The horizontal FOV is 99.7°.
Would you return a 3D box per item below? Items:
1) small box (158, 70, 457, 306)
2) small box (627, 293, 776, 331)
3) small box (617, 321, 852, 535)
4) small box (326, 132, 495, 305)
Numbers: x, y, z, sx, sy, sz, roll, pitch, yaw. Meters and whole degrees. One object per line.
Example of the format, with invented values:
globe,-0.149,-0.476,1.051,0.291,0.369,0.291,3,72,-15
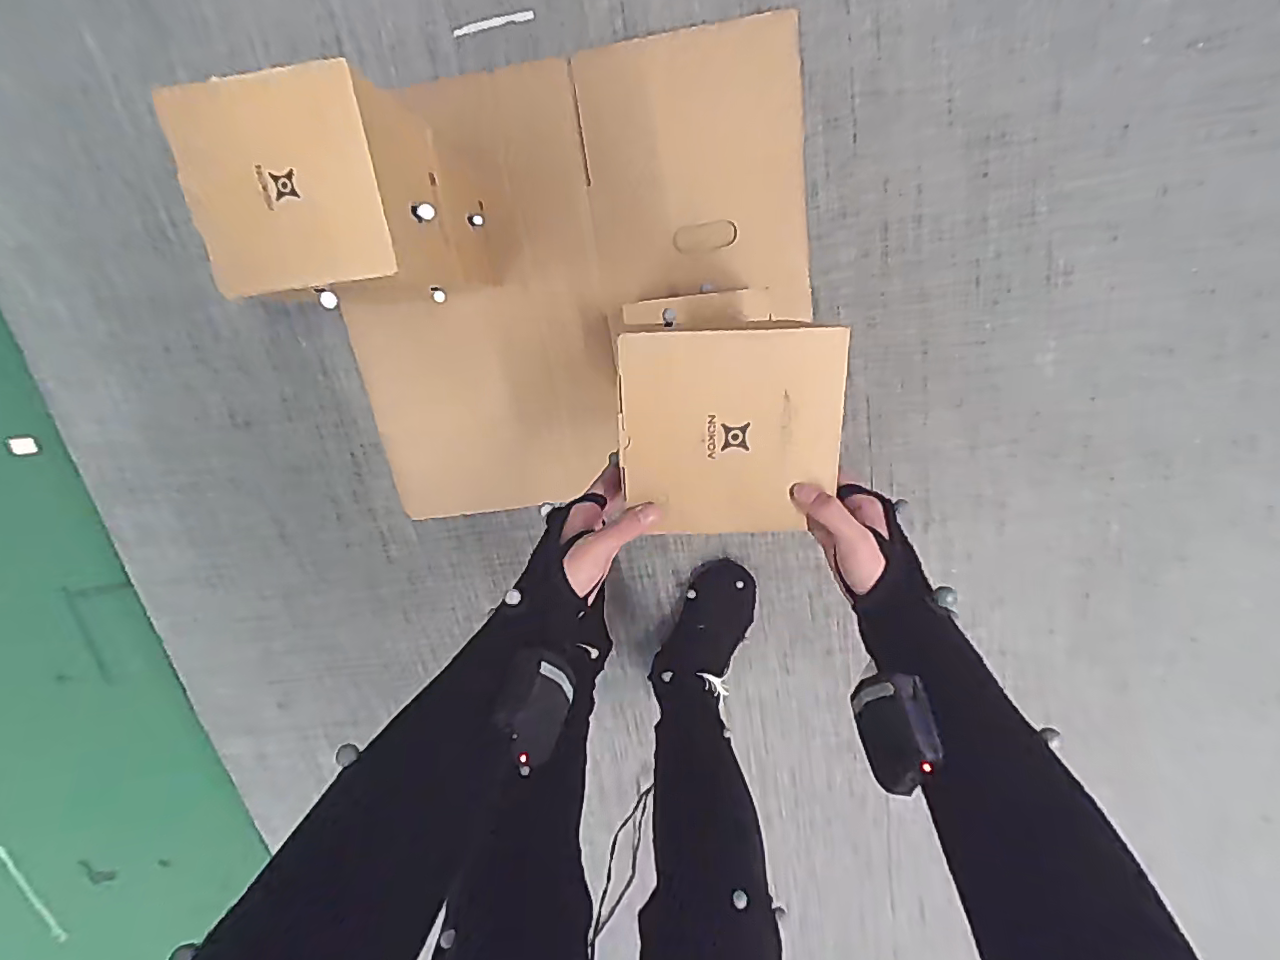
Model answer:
small box,-0.301,-0.272,0.540,0.179,0.176,0.168,-6,108,6
small box,0.081,-0.159,0.729,0.179,0.176,0.168,-5,107,5
small box,0.073,-0.057,0.501,0.179,0.176,0.168,-2,109,0
small box,-0.298,-0.321,0.694,0.179,0.176,0.168,-6,107,6
